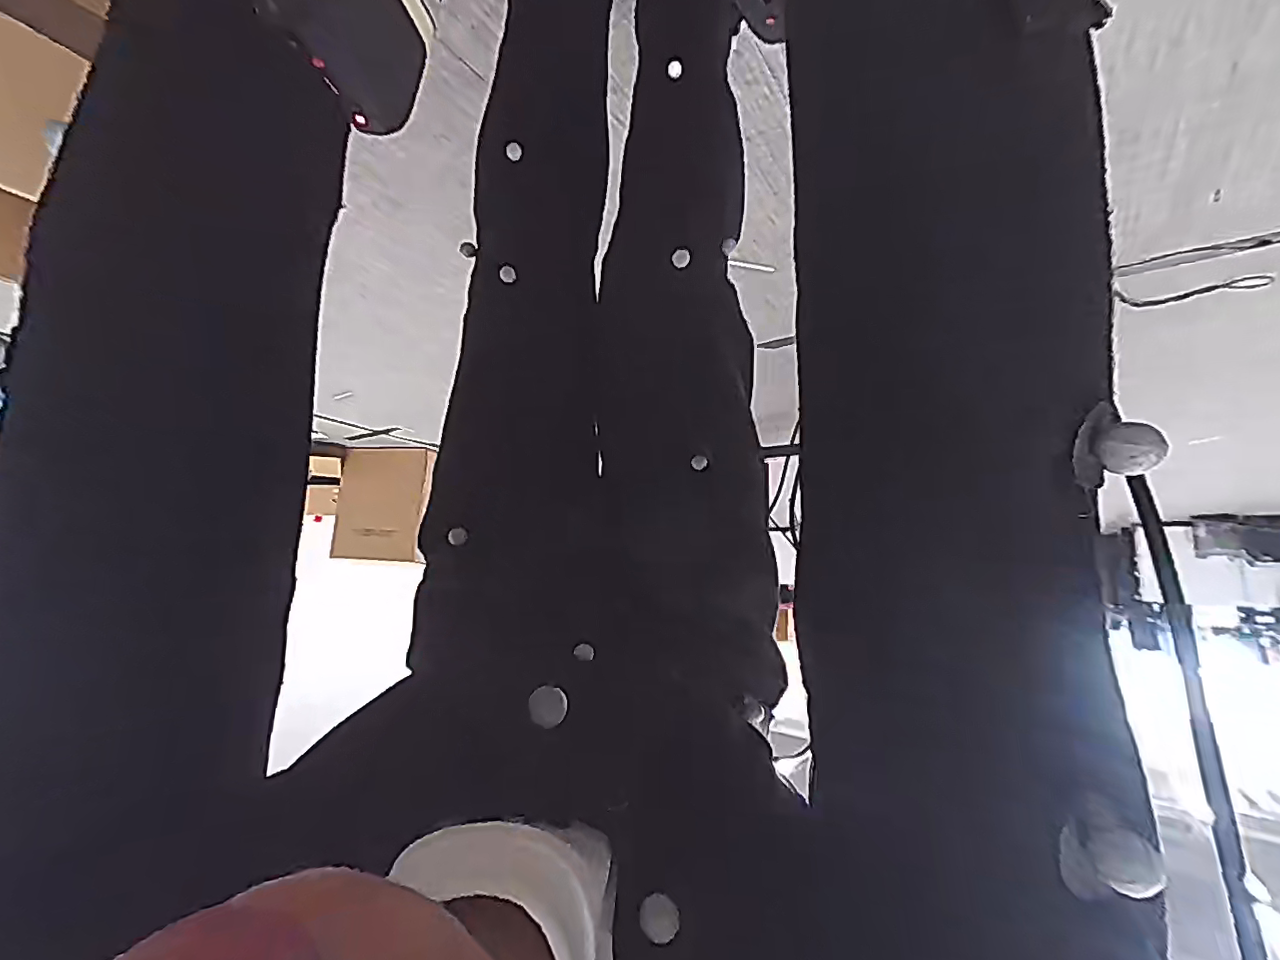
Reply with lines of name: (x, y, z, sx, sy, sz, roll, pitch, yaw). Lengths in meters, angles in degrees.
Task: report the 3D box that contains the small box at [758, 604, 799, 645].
small box: (0.629, 0.666, 2.506, 0.179, 0.176, 0.168, -5, 166, 36)
